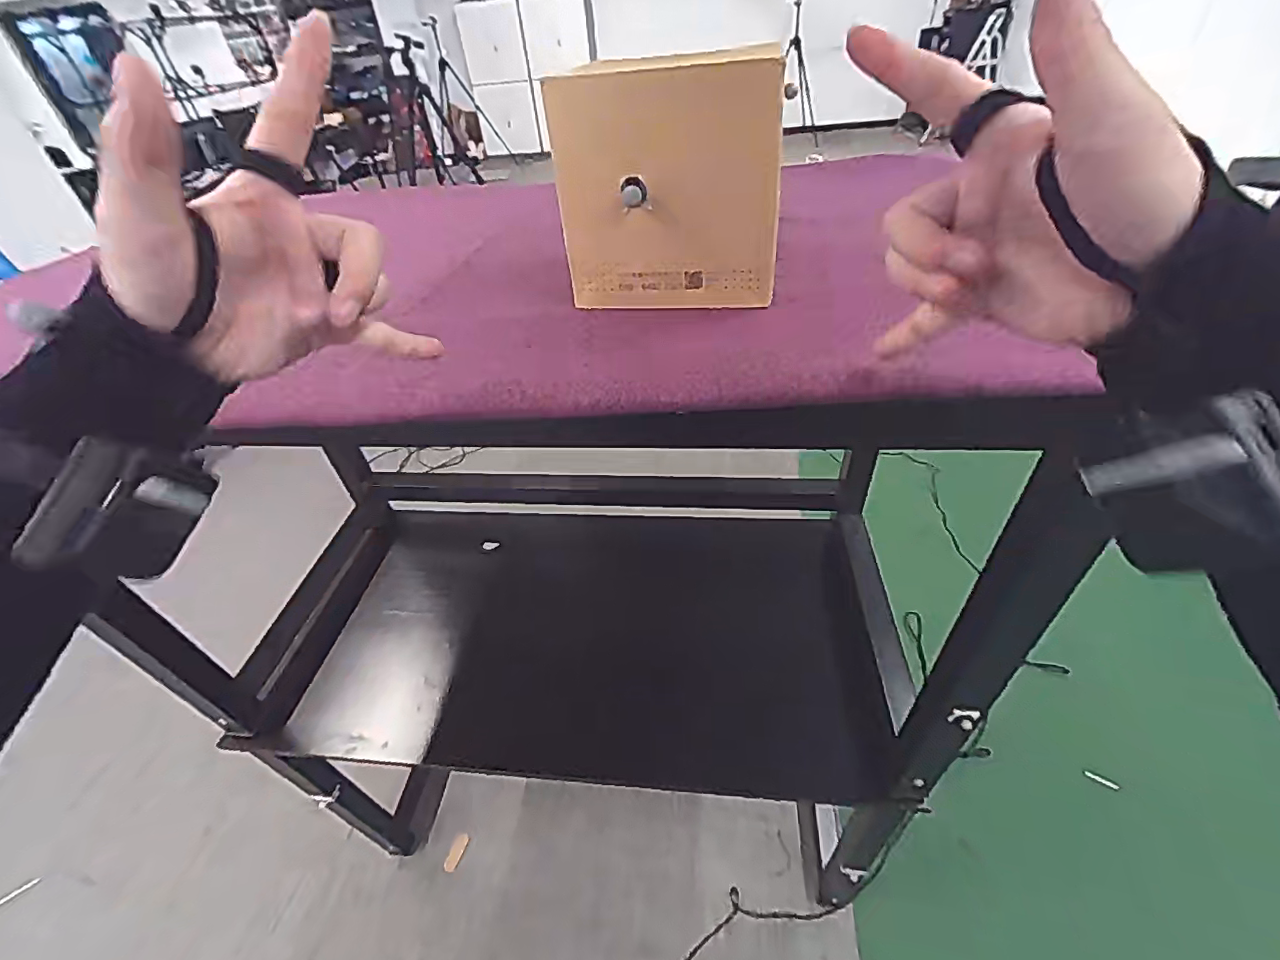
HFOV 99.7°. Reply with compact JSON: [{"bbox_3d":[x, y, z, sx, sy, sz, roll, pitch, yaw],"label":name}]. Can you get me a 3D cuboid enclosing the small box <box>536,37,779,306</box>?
[{"bbox_3d":[0.031,-0.259,0.464,0.168,0.176,0.179,3,40,11],"label":"small box"}]
